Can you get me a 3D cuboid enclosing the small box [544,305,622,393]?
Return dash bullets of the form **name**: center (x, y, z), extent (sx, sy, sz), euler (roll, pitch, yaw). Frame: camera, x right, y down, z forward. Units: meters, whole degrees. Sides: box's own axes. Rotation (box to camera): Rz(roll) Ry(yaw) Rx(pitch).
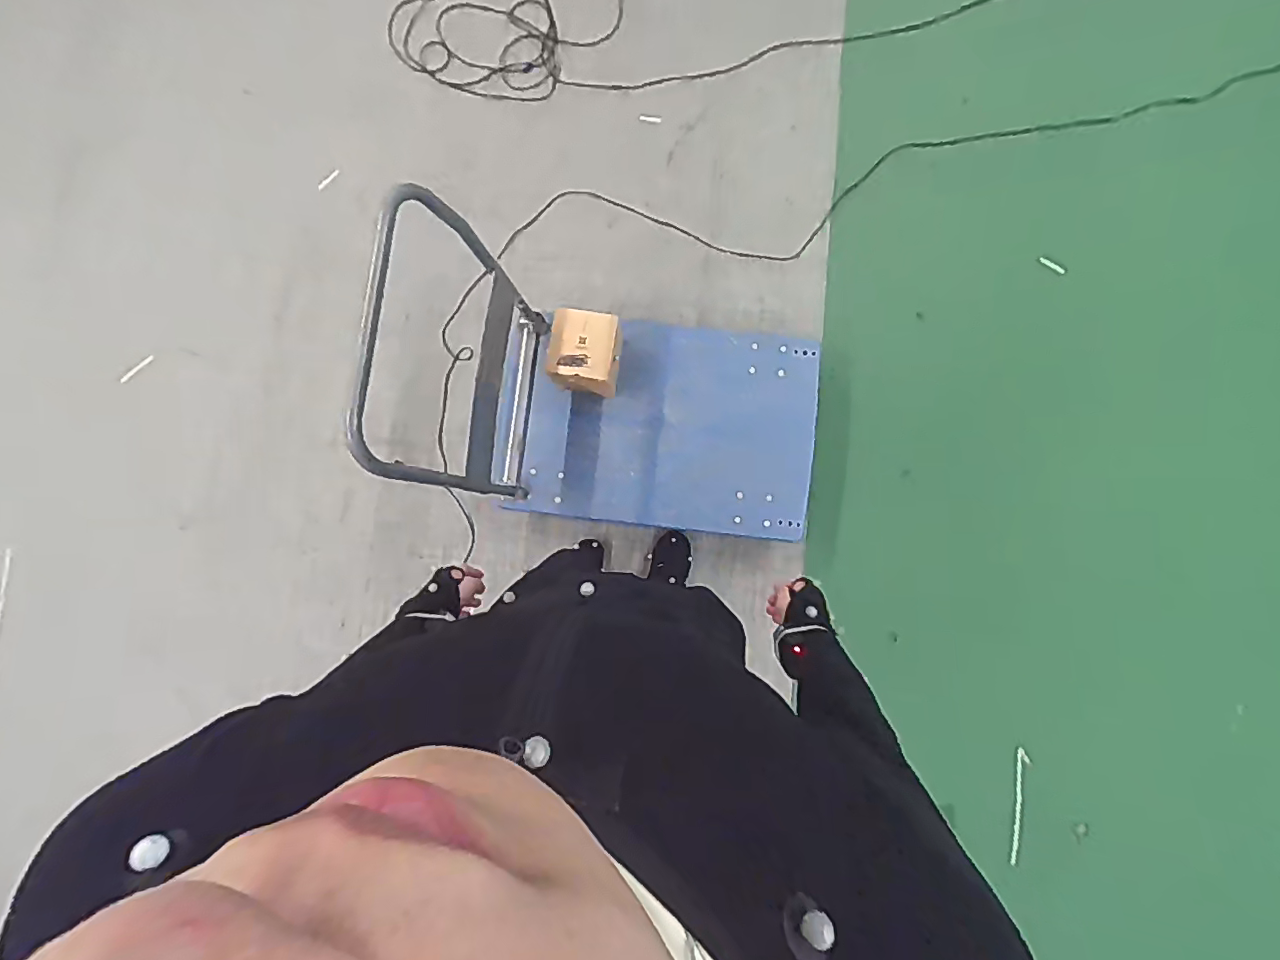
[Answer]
- **small box**: center (-0.145, -0.341, 1.440), extent (0.168, 0.176, 0.179), euler (9, 85, 3)
